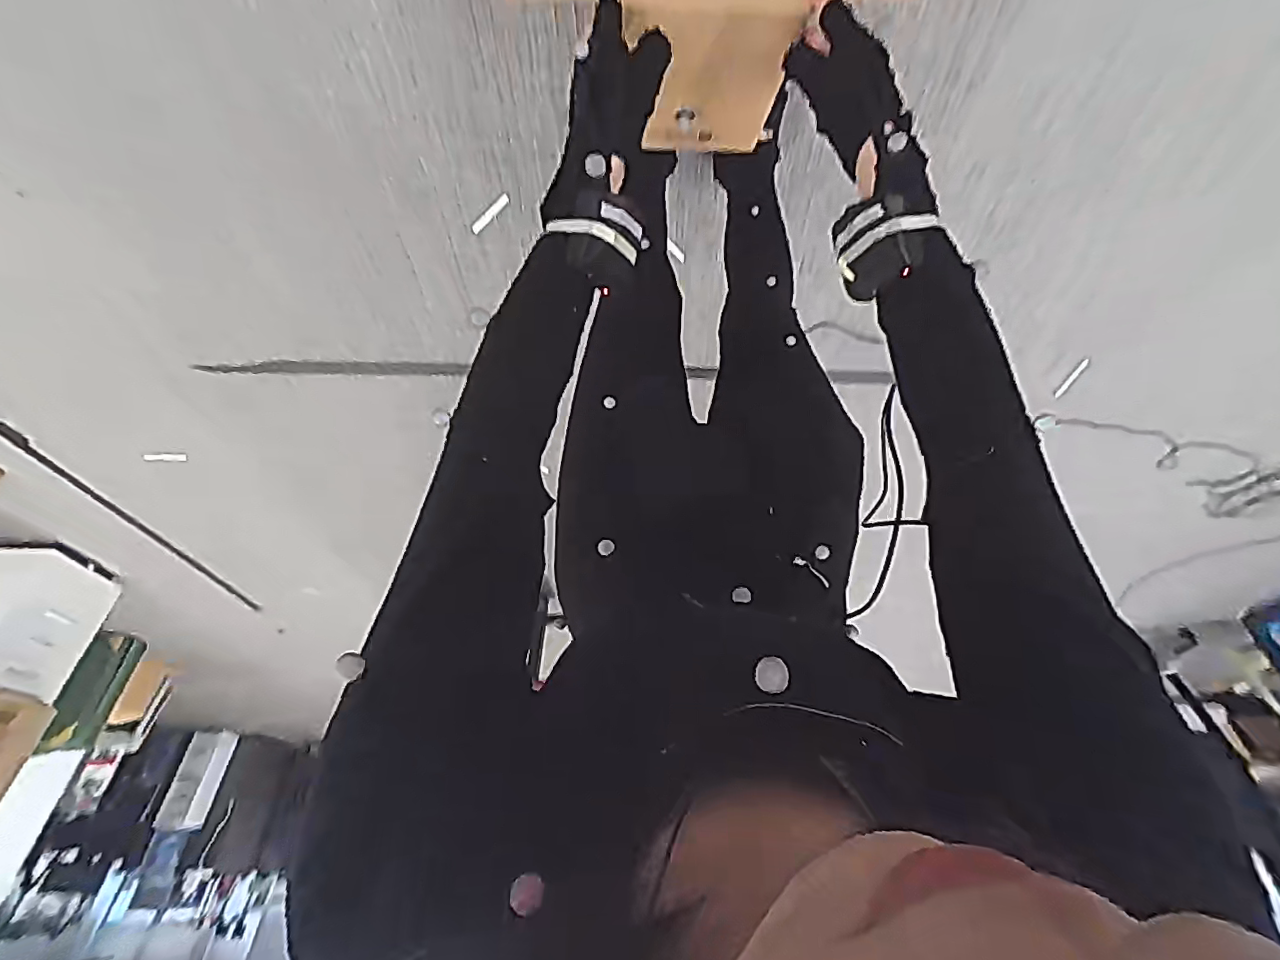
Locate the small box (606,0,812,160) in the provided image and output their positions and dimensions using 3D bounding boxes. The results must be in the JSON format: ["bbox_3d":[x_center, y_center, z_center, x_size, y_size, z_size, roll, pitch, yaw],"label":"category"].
[{"bbox_3d":[0.053,-0.459,0.536,0.168,0.179,0.176,-1,174,-6],"label":"small box"}]
